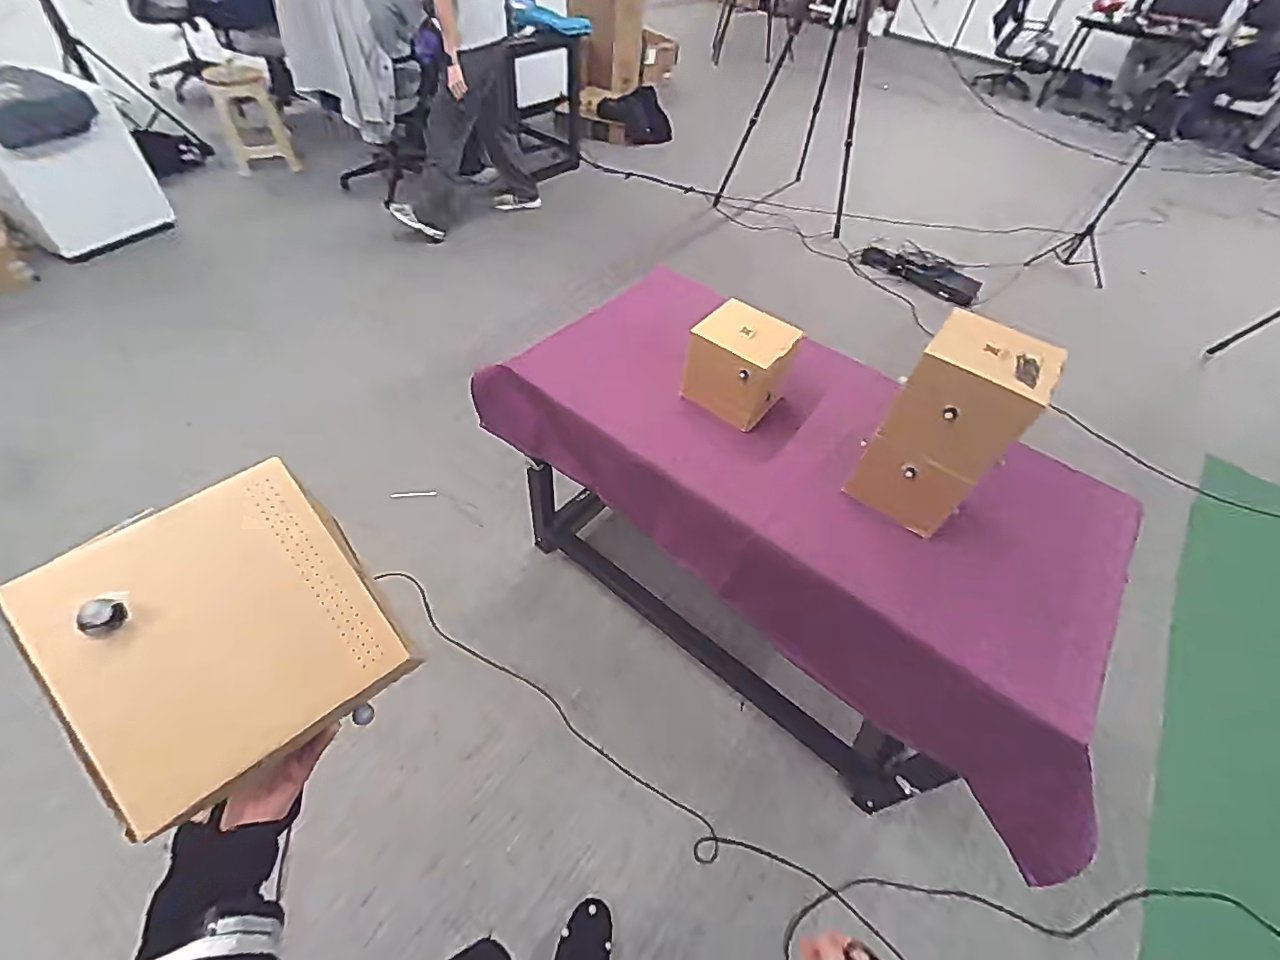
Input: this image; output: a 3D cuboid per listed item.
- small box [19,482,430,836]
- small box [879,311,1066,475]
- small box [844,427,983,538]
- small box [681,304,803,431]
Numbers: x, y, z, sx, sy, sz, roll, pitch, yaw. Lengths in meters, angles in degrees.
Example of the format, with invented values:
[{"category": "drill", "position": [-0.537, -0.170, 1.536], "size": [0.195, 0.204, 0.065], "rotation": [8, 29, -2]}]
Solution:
[{"category": "small box", "position": [-0.288, 0.120, 0.423], "size": [0.176, 0.168, 0.179], "rotation": [-33, 84, -23]}, {"category": "small box", "position": [0.522, -0.132, 0.865], "size": [0.179, 0.176, 0.168], "rotation": [33, 54, 21]}, {"category": "small box", "position": [0.506, -0.026, 0.989], "size": [0.179, 0.176, 0.168], "rotation": [35, 55, 20]}, {"category": "small box", "position": [0.206, -0.233, 1.131], "size": [0.179, 0.176, 0.168], "rotation": [33, 54, 19]}]
